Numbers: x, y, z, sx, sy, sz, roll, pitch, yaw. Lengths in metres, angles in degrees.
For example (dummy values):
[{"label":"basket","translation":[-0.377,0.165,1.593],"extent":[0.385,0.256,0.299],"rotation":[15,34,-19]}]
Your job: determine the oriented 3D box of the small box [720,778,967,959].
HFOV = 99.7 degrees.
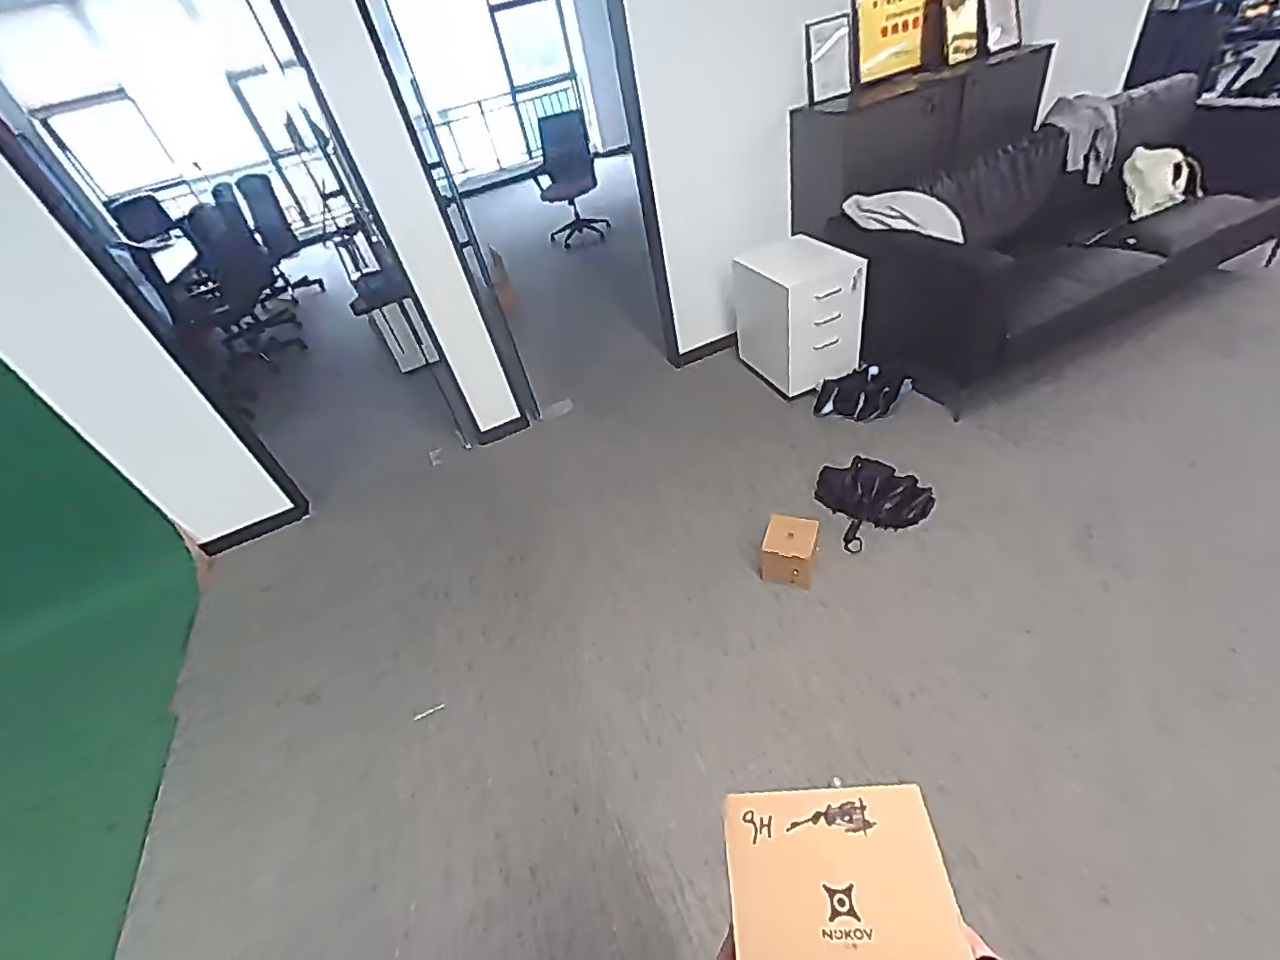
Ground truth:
[{"label":"small box","translation":[0.164,0.376,0.460],"extent":[0.168,0.176,0.179],"rotation":[-8,45,9]}]
